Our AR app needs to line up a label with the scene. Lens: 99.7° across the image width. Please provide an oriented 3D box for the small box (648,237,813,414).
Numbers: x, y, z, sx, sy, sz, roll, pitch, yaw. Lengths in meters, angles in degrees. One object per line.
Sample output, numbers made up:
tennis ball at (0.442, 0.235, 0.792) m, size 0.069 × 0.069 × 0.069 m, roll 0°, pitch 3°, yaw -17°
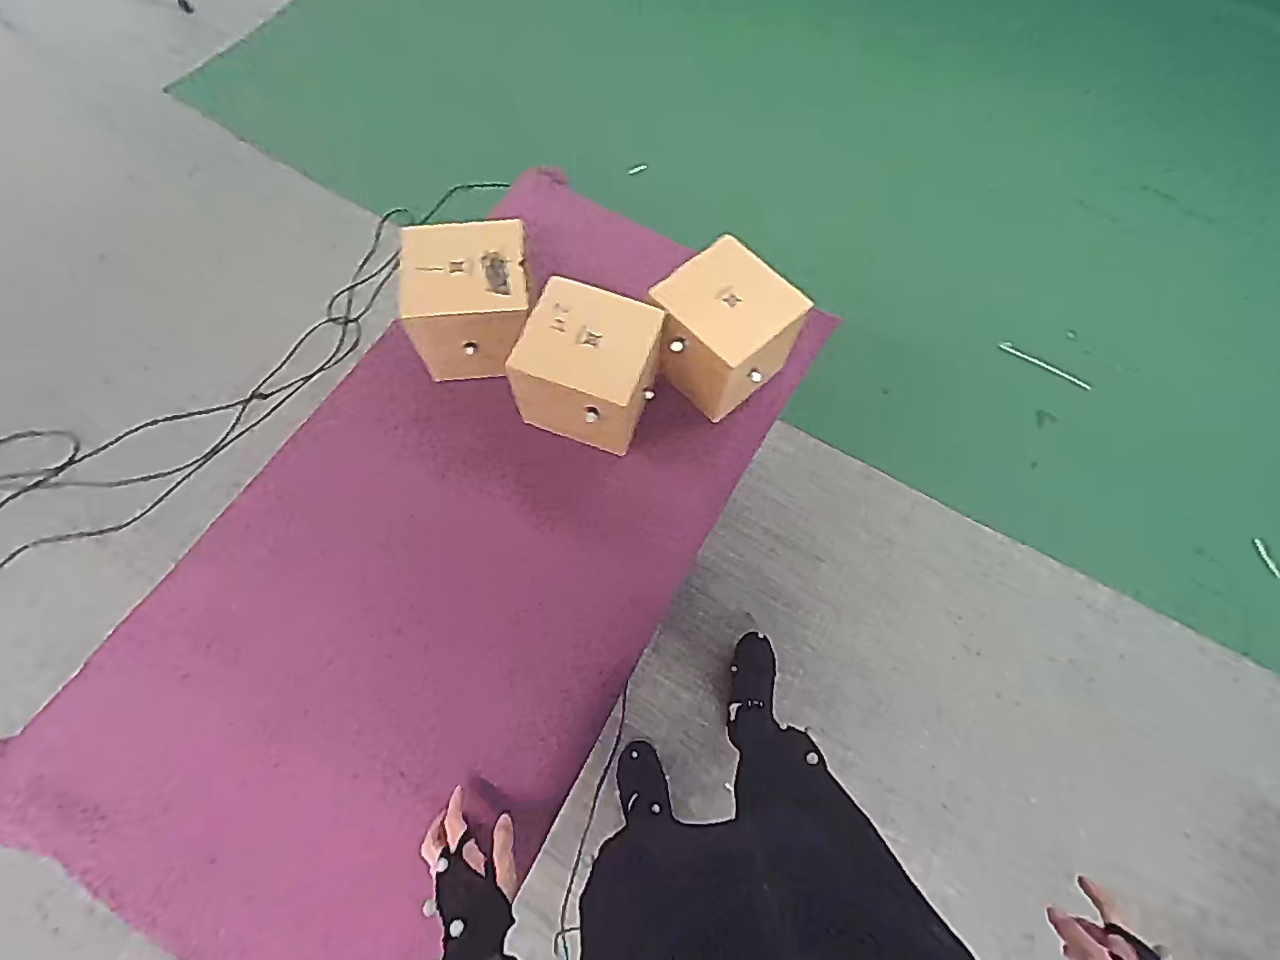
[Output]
small box at (0.129, -0.225, 0.837) m, size 0.168 × 0.176 × 0.179 m, roll -40°, pitch 74°, yaw -14°
